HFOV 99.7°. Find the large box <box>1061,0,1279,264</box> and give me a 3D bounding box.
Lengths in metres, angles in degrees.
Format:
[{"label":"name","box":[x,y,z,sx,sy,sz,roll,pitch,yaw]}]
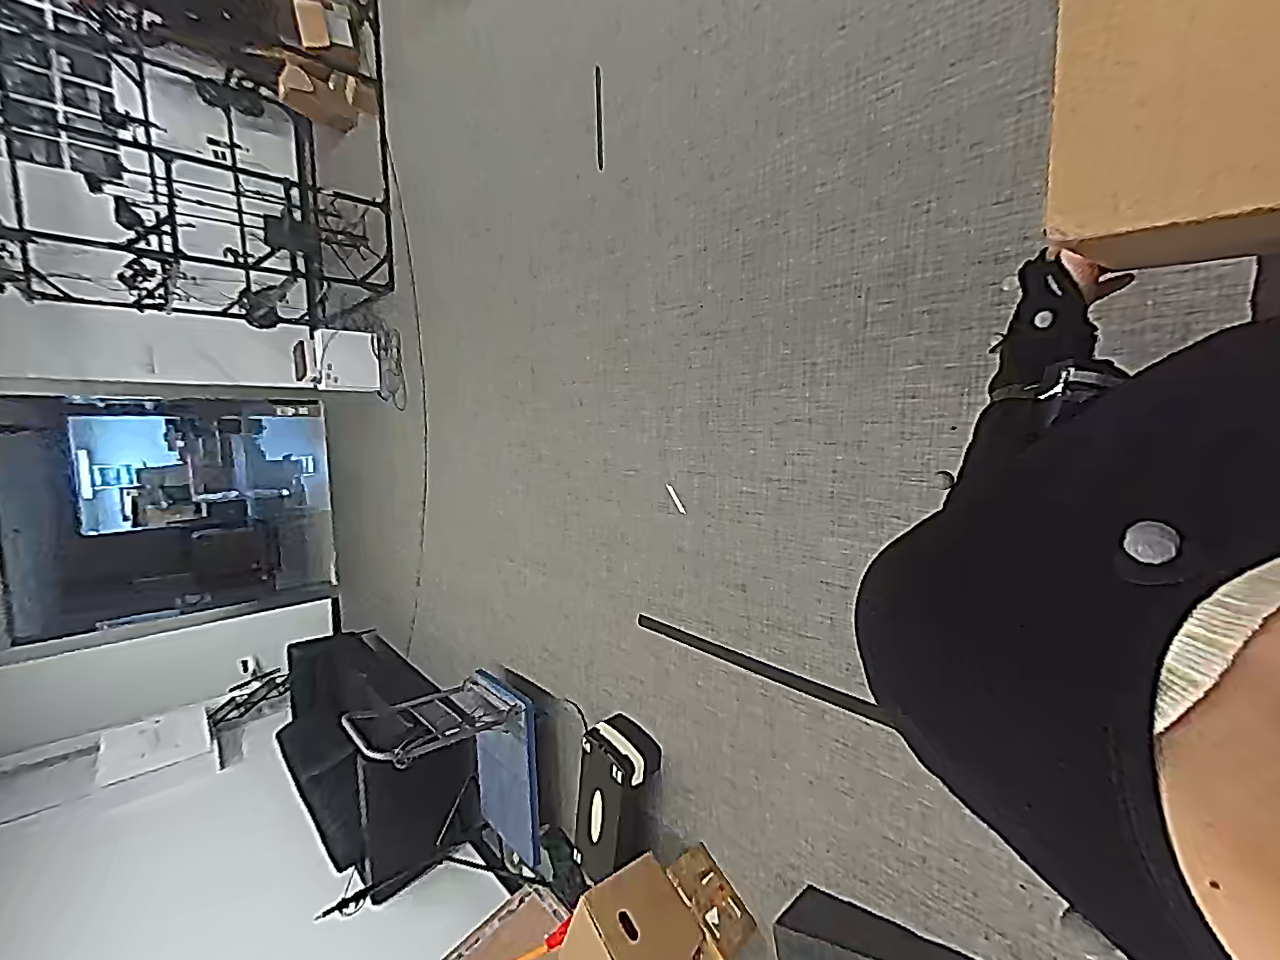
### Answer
[{"label":"large box","box":[0.442,-0.294,0.214,0.408,0.320,0.320,7,108,43]}]
